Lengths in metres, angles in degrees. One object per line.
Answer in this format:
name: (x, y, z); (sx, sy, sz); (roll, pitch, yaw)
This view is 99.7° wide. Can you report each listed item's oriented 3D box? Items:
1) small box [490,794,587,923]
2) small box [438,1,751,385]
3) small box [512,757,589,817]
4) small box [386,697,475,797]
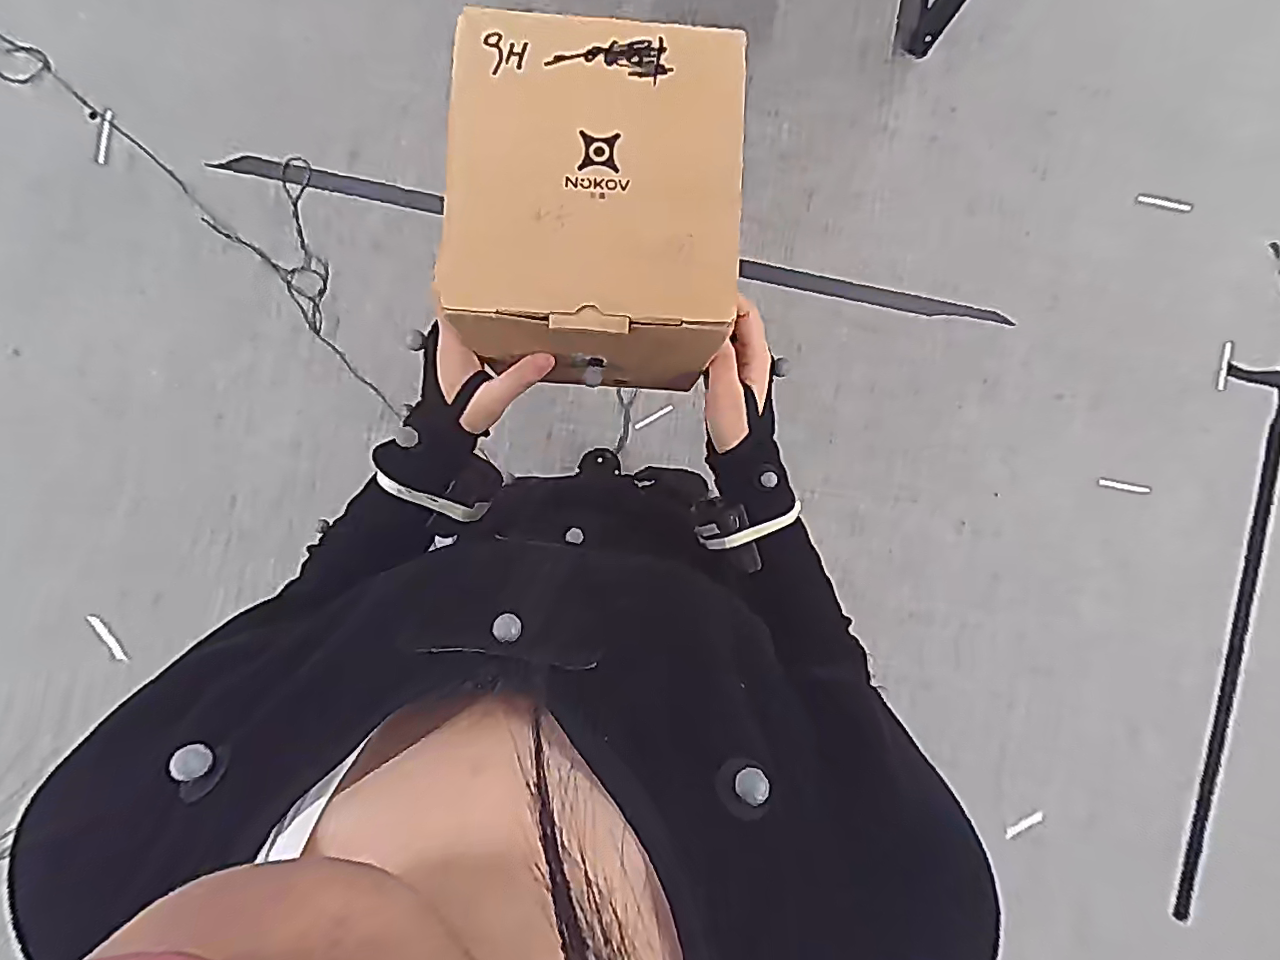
small box: (-0.225, 0.859, 1.245); (0.179, 0.176, 0.168); (13, 91, -4)
small box: (-0.027, -0.169, 0.377); (0.168, 0.176, 0.179); (3, 88, -3)
small box: (-0.235, 0.853, 1.409); (0.179, 0.176, 0.168); (12, 91, -4)
small box: (-0.531, 0.678, 1.391); (0.168, 0.176, 0.179); (4, 92, -3)
